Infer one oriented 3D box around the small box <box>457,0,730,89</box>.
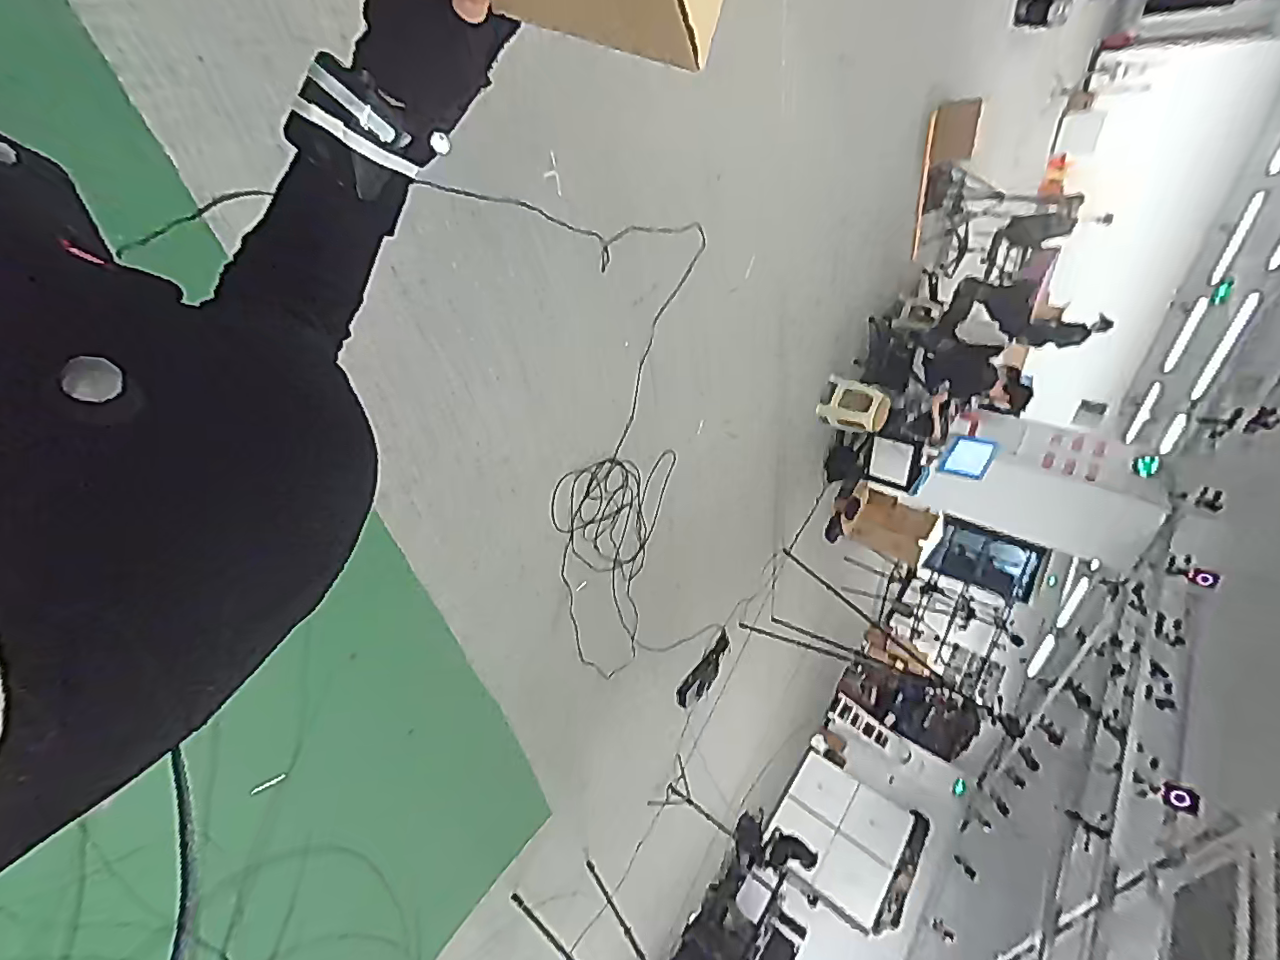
[{"bbox_3d":[-0.030,-0.306,0.224,0.179,0.176,0.168,-62,171,-67],"label":"small box"}]
